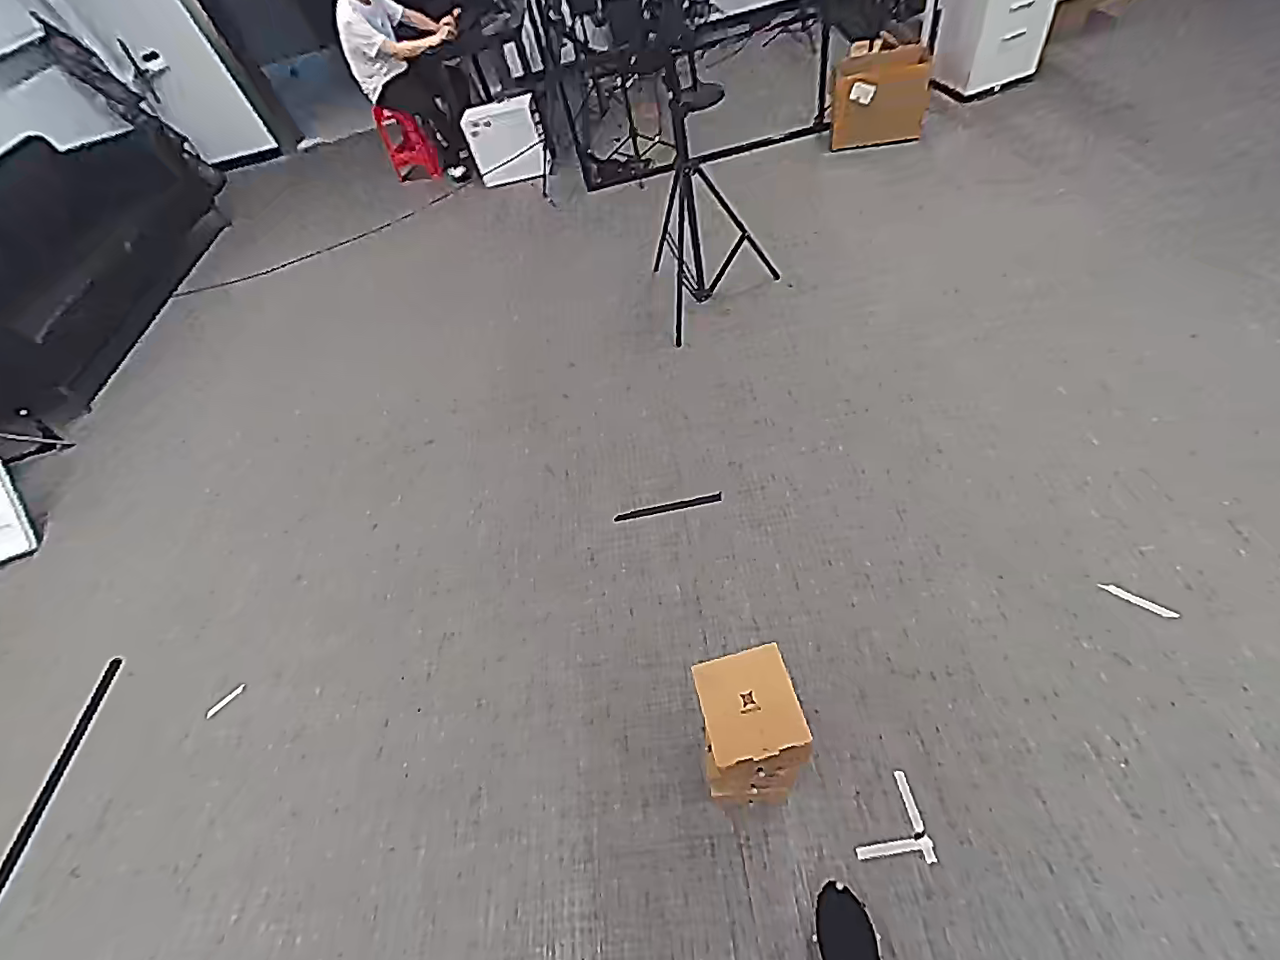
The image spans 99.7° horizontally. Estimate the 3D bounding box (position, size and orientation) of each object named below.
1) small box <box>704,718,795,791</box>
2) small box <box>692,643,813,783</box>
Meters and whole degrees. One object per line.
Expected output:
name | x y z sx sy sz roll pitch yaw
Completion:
small box | 0.223 0.530 1.120 0.168 0.176 0.179 -8 52 10
small box | 0.202 0.430 0.993 0.168 0.176 0.179 -17 51 2
